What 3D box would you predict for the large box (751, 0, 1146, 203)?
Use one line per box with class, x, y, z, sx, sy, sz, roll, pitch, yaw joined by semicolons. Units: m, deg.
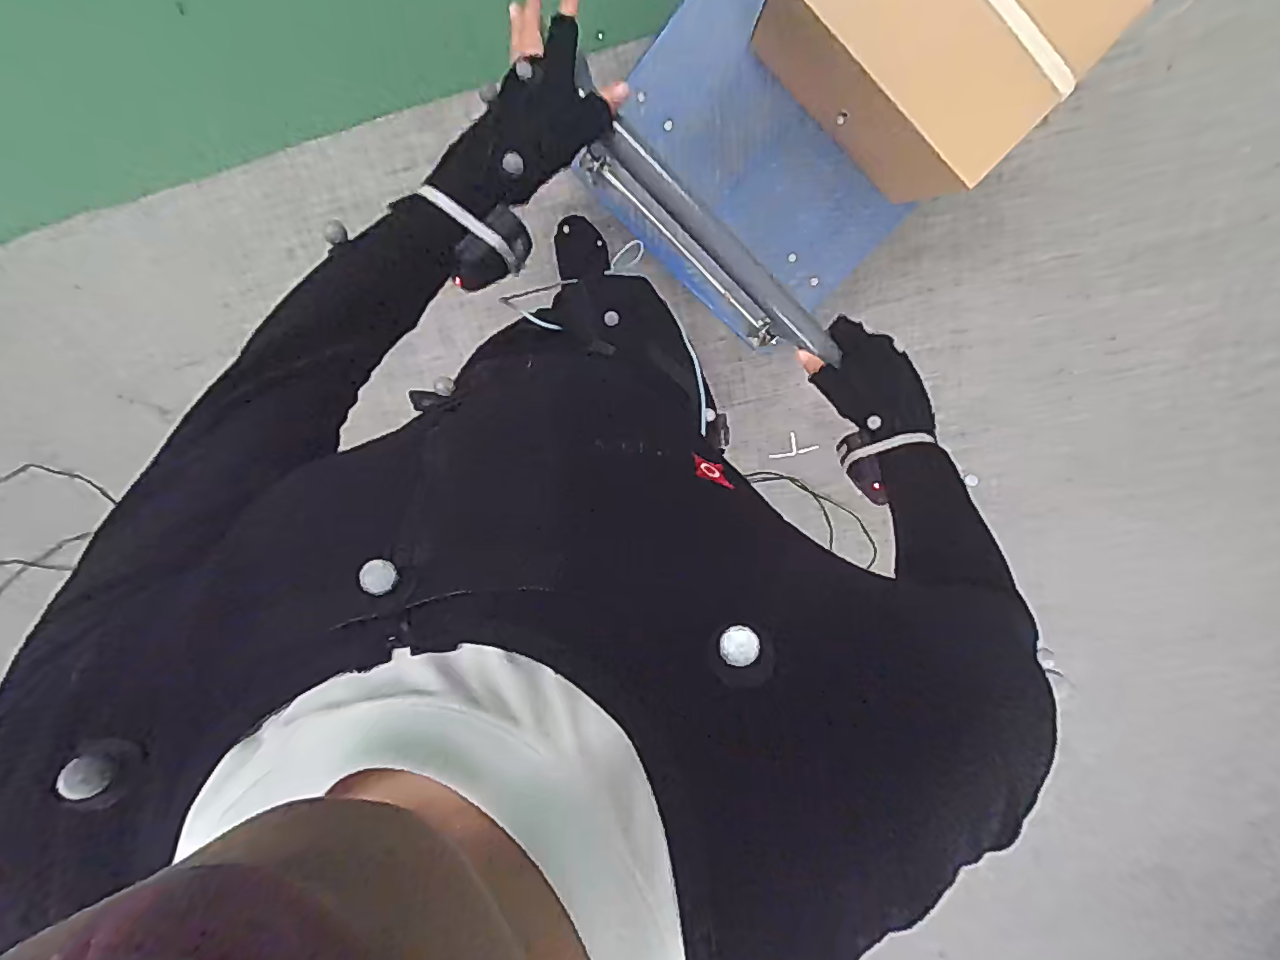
large box;0.435;-0.708;0.844;0.408;0.320;0.320;39;110;-12
